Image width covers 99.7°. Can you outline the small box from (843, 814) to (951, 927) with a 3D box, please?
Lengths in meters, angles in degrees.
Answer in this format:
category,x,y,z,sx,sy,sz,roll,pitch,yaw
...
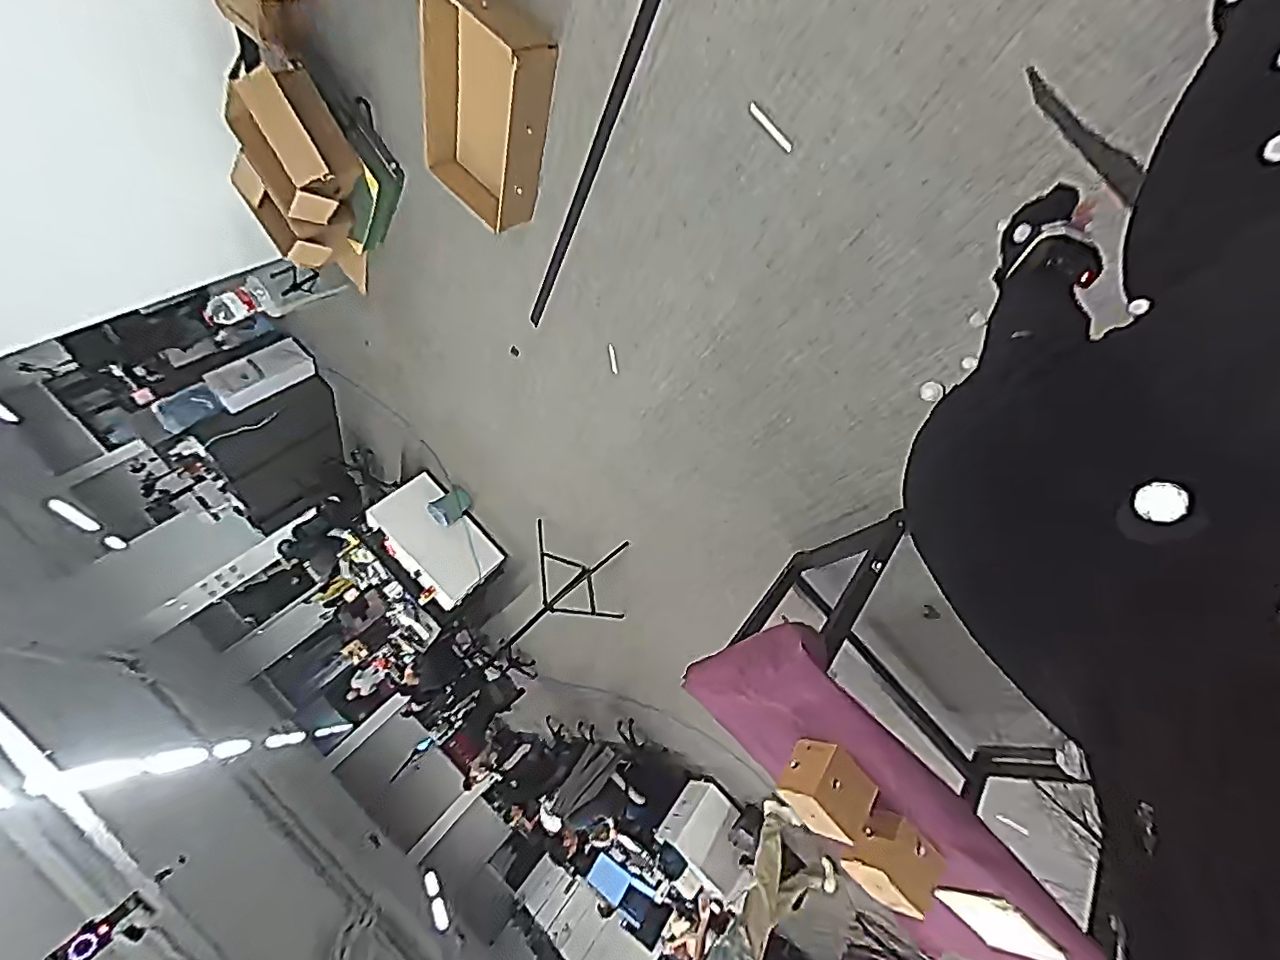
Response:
category,x,y,z,sx,sy,sz,roll,pitch,yaw
small box,0.703,1.051,1.478,0.179,0.176,0.168,48,148,1

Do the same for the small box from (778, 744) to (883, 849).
category,x,y,z,sx,sy,sz,roll,pitch,yaw
small box,0.523,0.856,1.483,0.179,0.176,0.168,47,149,-2
